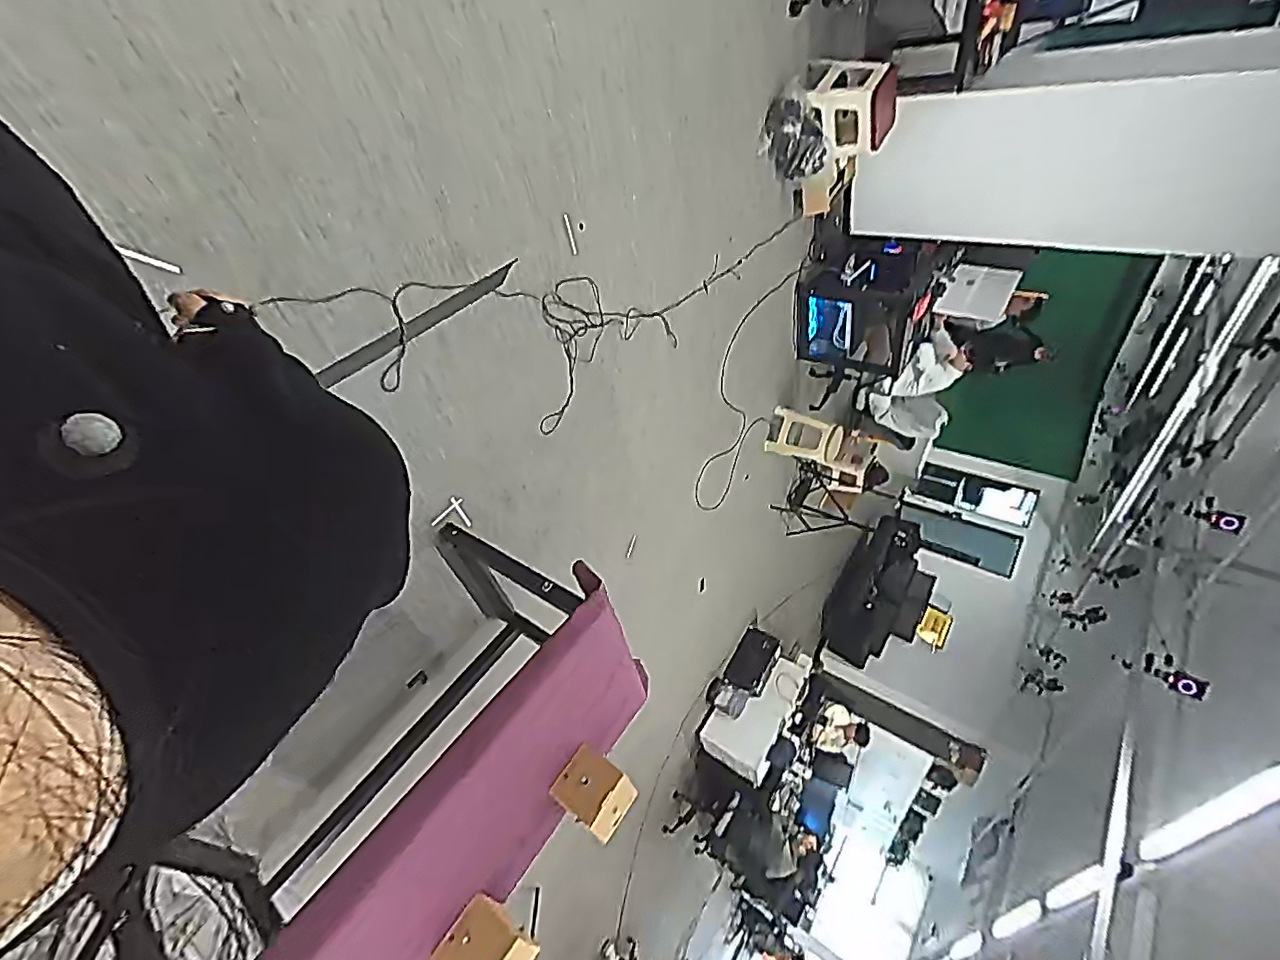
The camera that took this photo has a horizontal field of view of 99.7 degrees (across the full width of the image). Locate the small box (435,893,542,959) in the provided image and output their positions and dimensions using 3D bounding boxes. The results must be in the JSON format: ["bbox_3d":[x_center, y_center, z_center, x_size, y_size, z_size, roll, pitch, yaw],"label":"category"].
[{"bbox_3d":[-0.390,1.219,1.400,0.168,0.176,0.179,-48,140,-31],"label":"small box"}]

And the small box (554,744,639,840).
[{"bbox_3d":[-0.131,0.925,1.617,0.168,0.176,0.179,-47,139,-29],"label":"small box"}]
